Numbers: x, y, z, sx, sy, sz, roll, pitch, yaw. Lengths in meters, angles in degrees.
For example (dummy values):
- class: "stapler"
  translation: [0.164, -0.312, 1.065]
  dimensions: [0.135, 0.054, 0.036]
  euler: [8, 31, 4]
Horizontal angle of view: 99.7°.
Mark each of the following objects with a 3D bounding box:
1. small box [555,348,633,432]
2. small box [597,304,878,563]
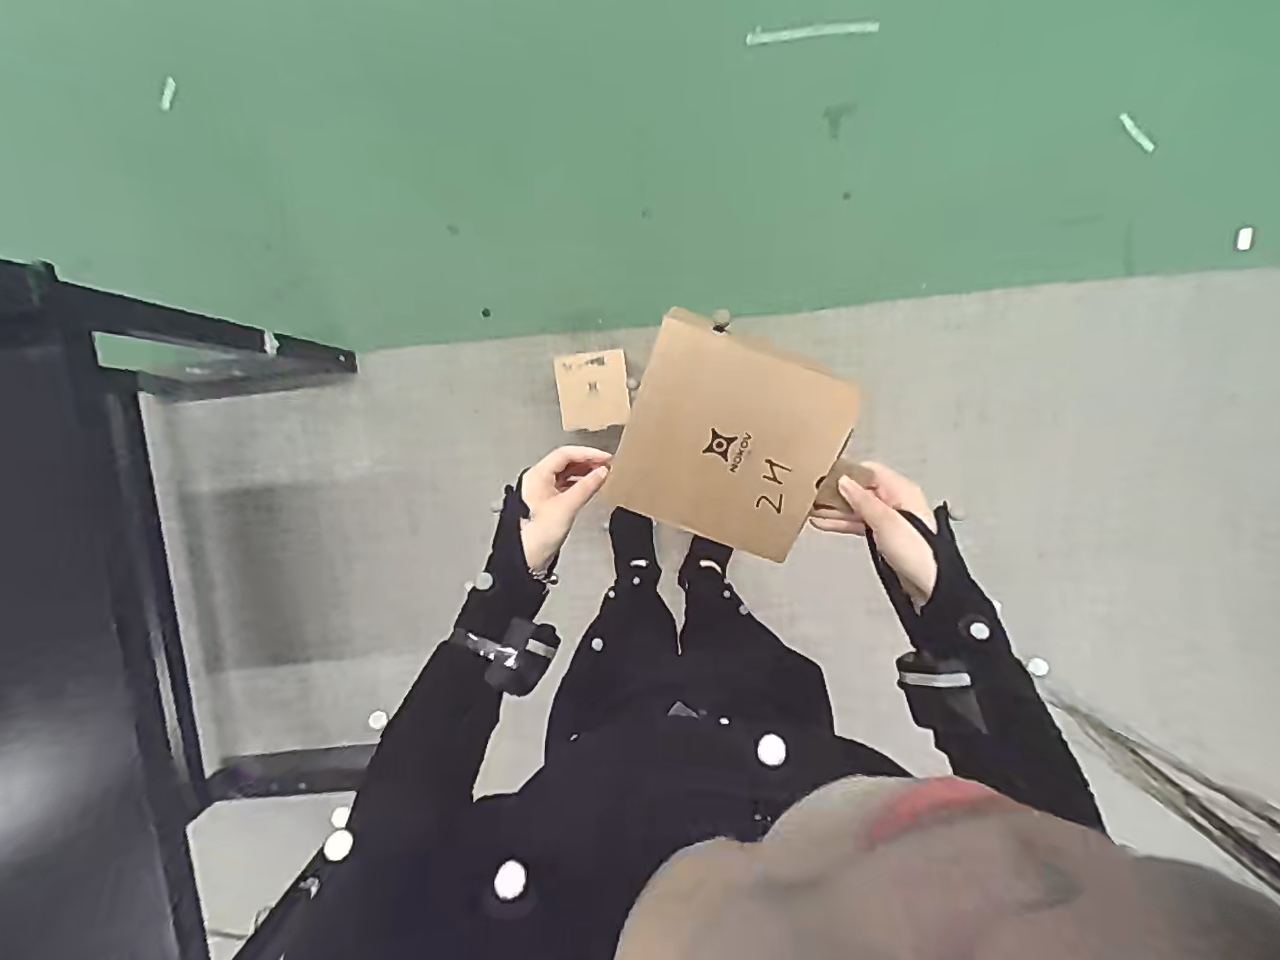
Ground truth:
- class: "small box"
  translation: [-0.100, -0.215, 1.314]
  dimensions: [0.168, 0.176, 0.179]
  euler: [-7, 96, 3]
- class: "small box"
  translation: [0.079, -0.056, 0.502]
  dimensions: [0.179, 0.176, 0.168]
  euler: [20, 112, -2]
